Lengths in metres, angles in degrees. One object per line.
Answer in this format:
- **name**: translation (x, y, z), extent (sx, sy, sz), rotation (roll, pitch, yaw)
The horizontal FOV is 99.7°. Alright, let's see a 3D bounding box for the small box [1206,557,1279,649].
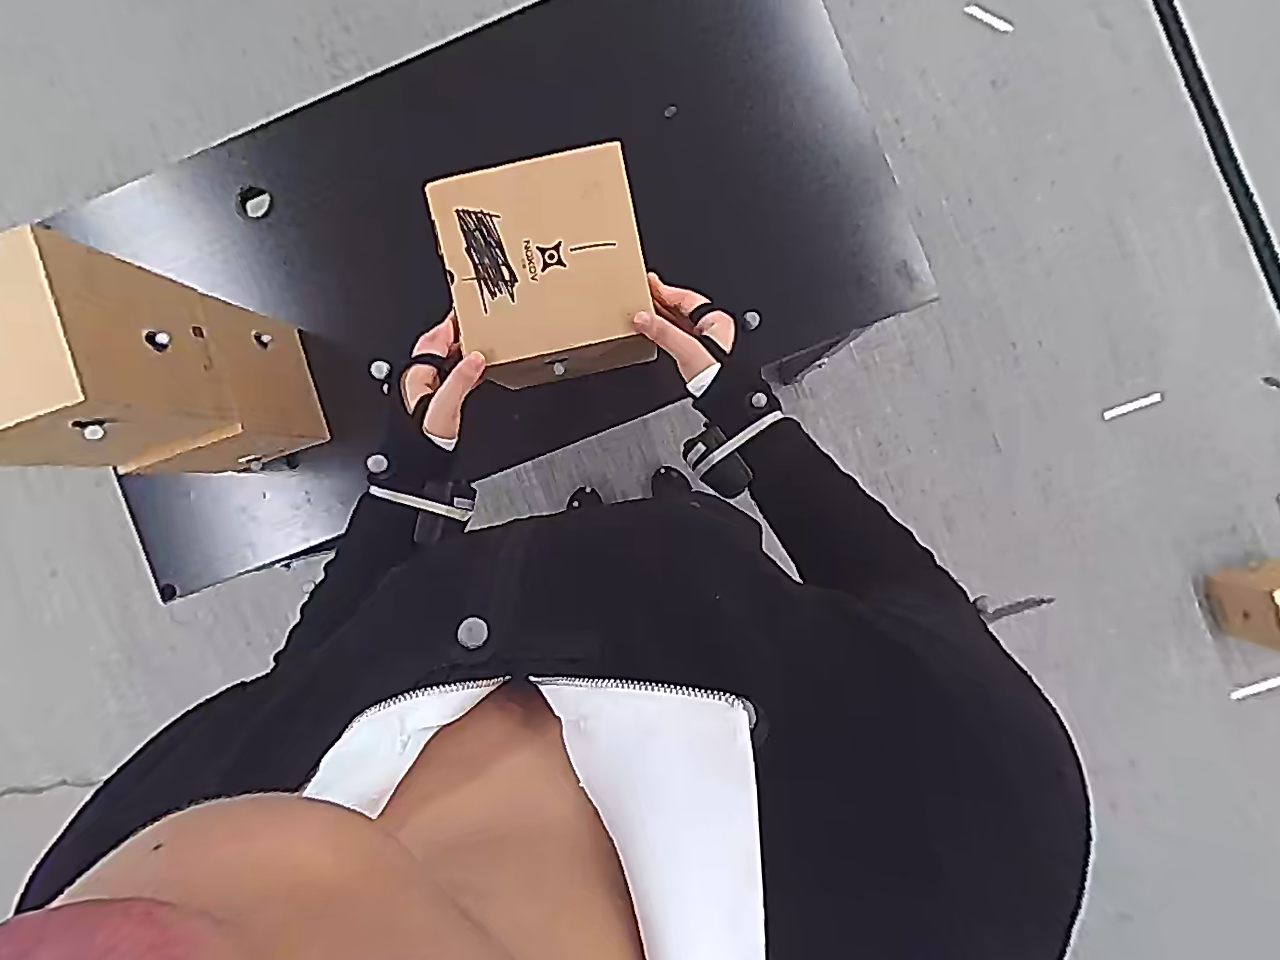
- **small box**: translation (1.568, 0.302, 1.334), extent (0.179, 0.176, 0.168), rotation (-19, 90, 4)

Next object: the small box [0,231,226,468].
- **small box**: translation (-0.571, -0.115, 0.551), extent (0.179, 0.176, 0.168), rotation (-18, 89, 4)

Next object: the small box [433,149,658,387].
- **small box**: translation (-0.080, -0.196, 0.552), extent (0.179, 0.176, 0.168), rotation (-11, 94, 1)

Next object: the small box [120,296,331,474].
- **small box**: translation (-0.555, -0.112, 0.716), extent (0.168, 0.176, 0.179), rotation (-18, 90, 4)
